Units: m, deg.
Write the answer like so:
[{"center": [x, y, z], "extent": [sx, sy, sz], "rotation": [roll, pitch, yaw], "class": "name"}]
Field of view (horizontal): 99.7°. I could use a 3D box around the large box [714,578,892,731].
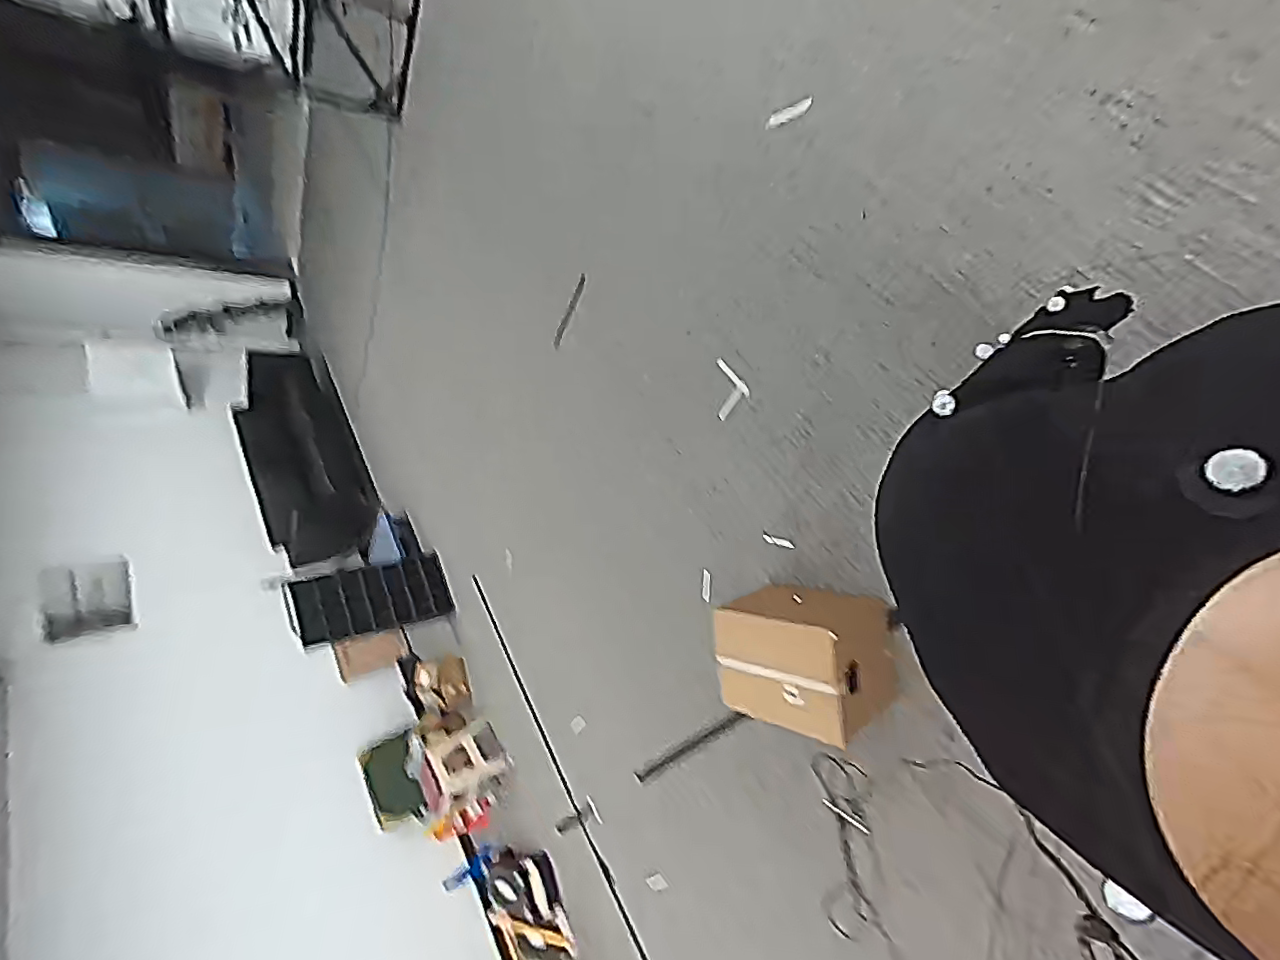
[{"center": [0.484, 0.489, 1.624], "extent": [0.408, 0.320, 0.320], "rotation": [-3, 95, 47], "class": "large box"}]
